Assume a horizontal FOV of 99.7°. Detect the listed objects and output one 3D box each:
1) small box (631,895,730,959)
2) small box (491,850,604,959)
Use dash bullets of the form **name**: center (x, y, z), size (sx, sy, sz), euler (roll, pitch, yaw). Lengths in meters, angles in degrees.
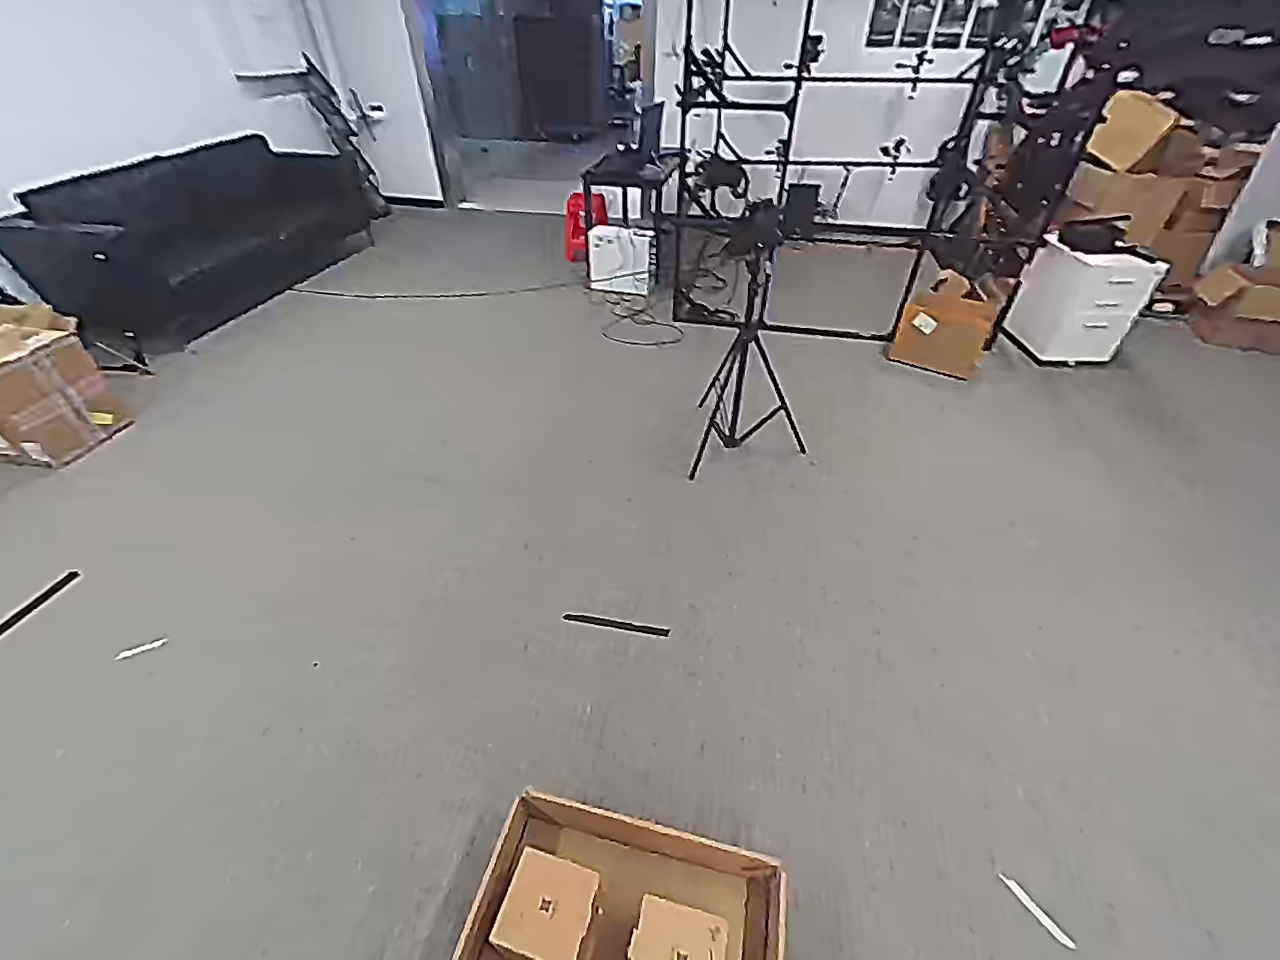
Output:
- **small box**: center (0.076, 0.963, 1.066), size (0.179, 0.176, 0.168), euler (8, 41, 12)
- **small box**: center (-0.180, 0.912, 1.124), size (0.179, 0.176, 0.168), euler (11, 41, 13)
